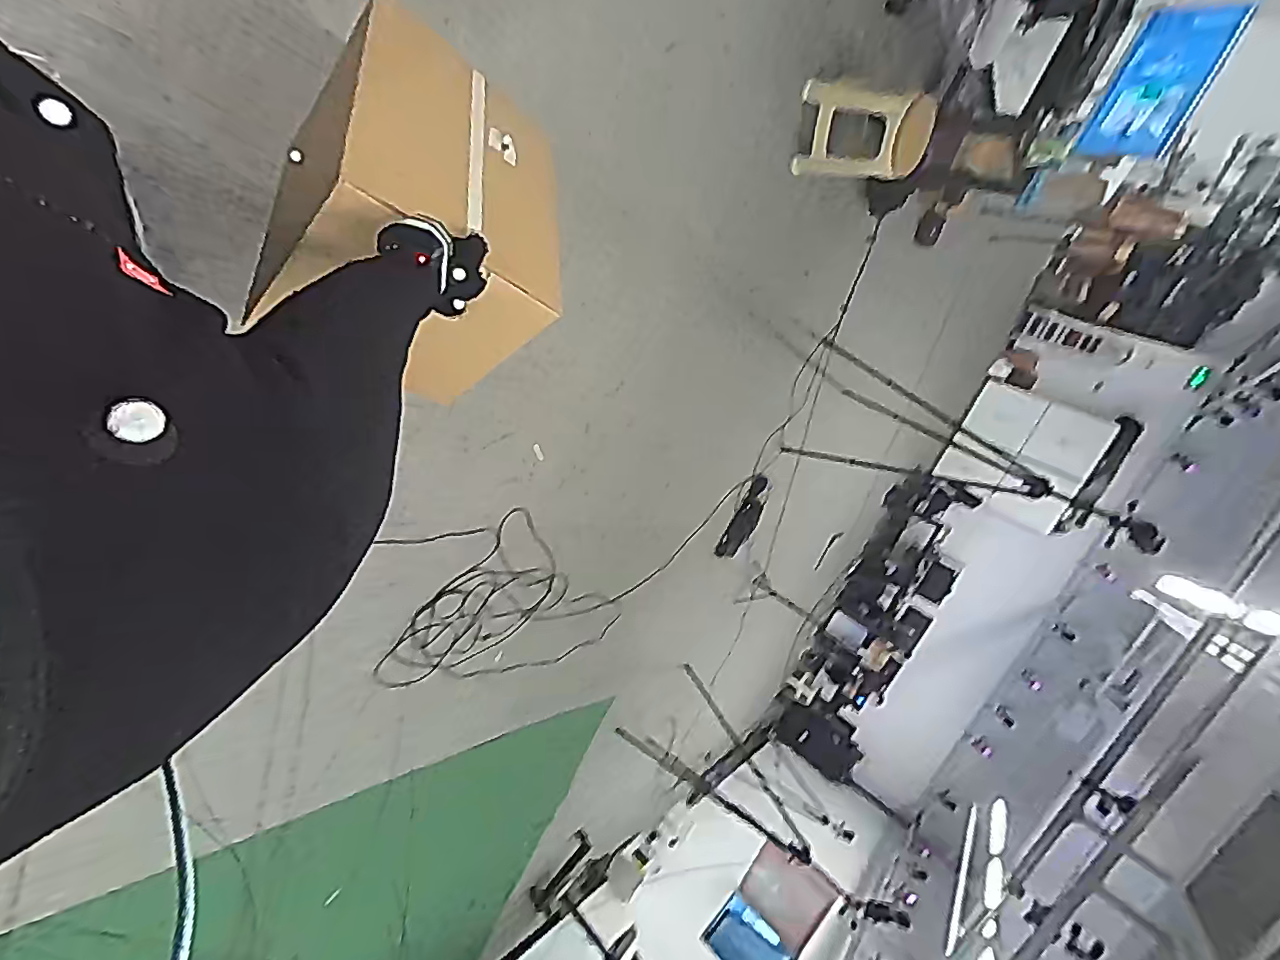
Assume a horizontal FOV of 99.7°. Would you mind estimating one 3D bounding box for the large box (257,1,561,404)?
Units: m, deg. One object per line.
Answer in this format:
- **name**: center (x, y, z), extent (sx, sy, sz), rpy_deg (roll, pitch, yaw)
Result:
- **large box**: center (-0.352, -0.396, 0.856), extent (0.320, 0.408, 0.320), rpy_deg (-25, 149, 33)
